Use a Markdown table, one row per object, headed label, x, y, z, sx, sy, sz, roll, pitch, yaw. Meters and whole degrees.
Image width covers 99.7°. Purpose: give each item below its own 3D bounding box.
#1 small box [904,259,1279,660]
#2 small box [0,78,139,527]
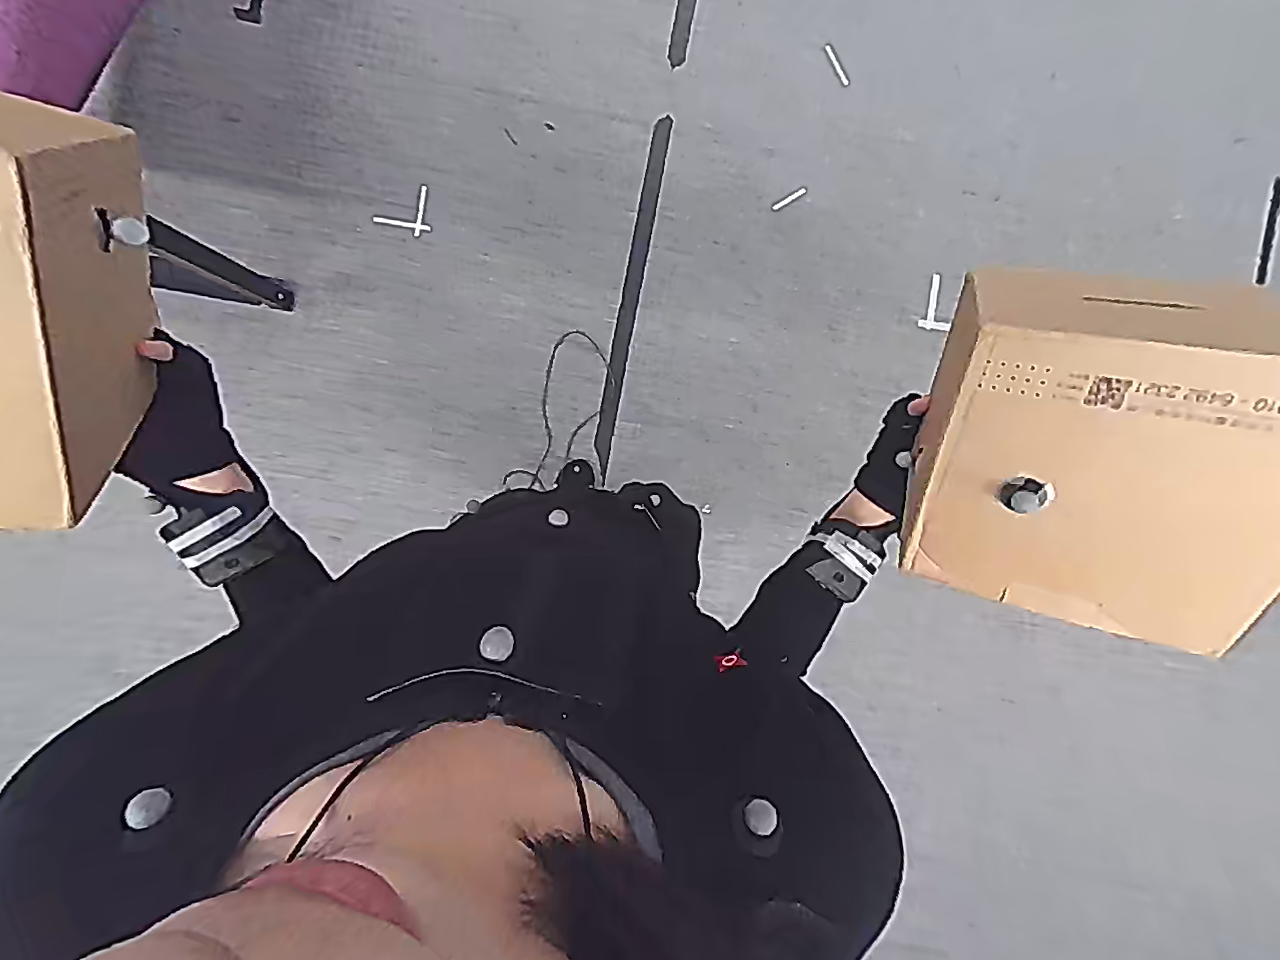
| label | x | y | z | sx | sy | sz | roll | pitch | yaw |
| --- | --- | --- | --- | --- | --- | --- | --- | --- | --- |
| small box | 0.274 | -0.033 | 0.332 | 0.168 | 0.179 | 0.176 | 15 | 126 | 21 |
| small box | -0.351 | -0.094 | 0.232 | 0.168 | 0.179 | 0.176 | 3 | 119 | -32 |
